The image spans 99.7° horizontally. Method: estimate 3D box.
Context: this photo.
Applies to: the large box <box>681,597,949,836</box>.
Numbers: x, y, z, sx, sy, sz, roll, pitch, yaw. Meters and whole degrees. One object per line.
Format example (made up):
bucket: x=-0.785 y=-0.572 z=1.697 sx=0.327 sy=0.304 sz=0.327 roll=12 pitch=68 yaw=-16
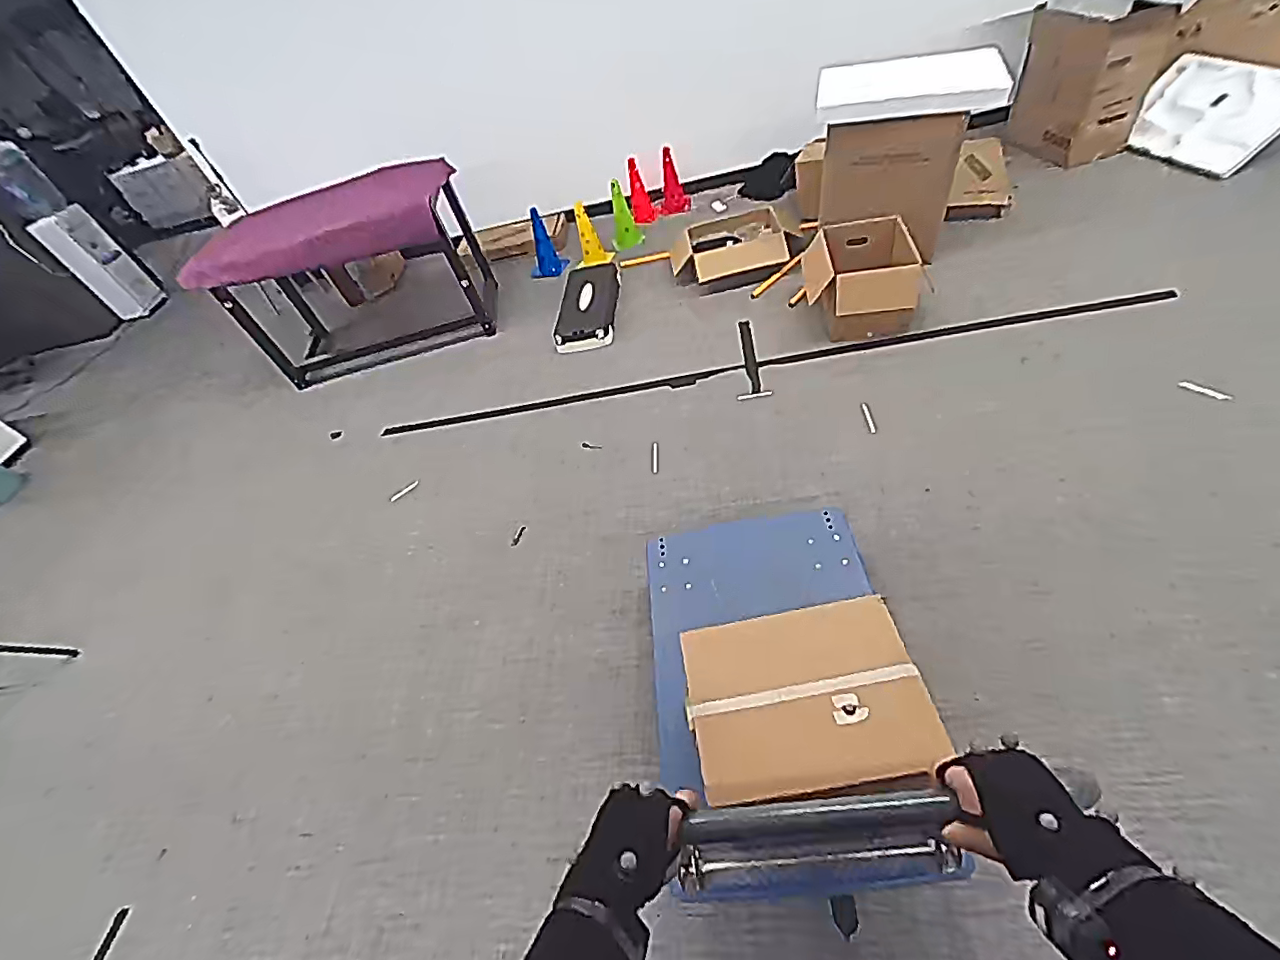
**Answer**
large box: x=0.318 y=0.482 z=1.089 sx=0.408 sy=0.320 sz=0.320 roll=-12 pitch=48 yaw=4
